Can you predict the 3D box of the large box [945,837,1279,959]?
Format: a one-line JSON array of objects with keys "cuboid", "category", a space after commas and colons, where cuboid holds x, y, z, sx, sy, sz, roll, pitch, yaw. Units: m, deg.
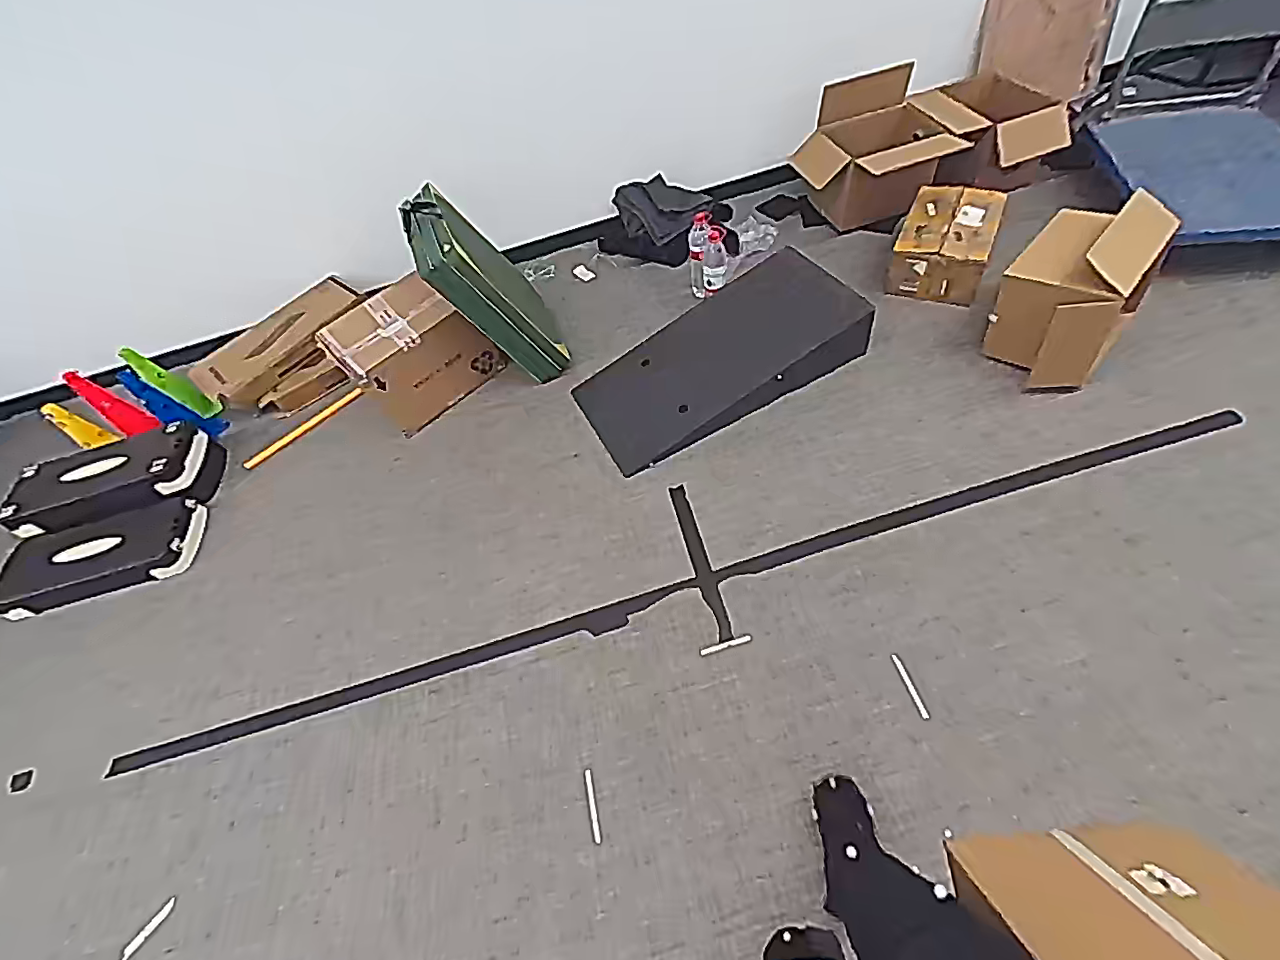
[{"cuboid": [0.605, 0.658, 0.581, 0.320, 0.408, 0.320, -7, 80, 6], "category": "large box"}]
